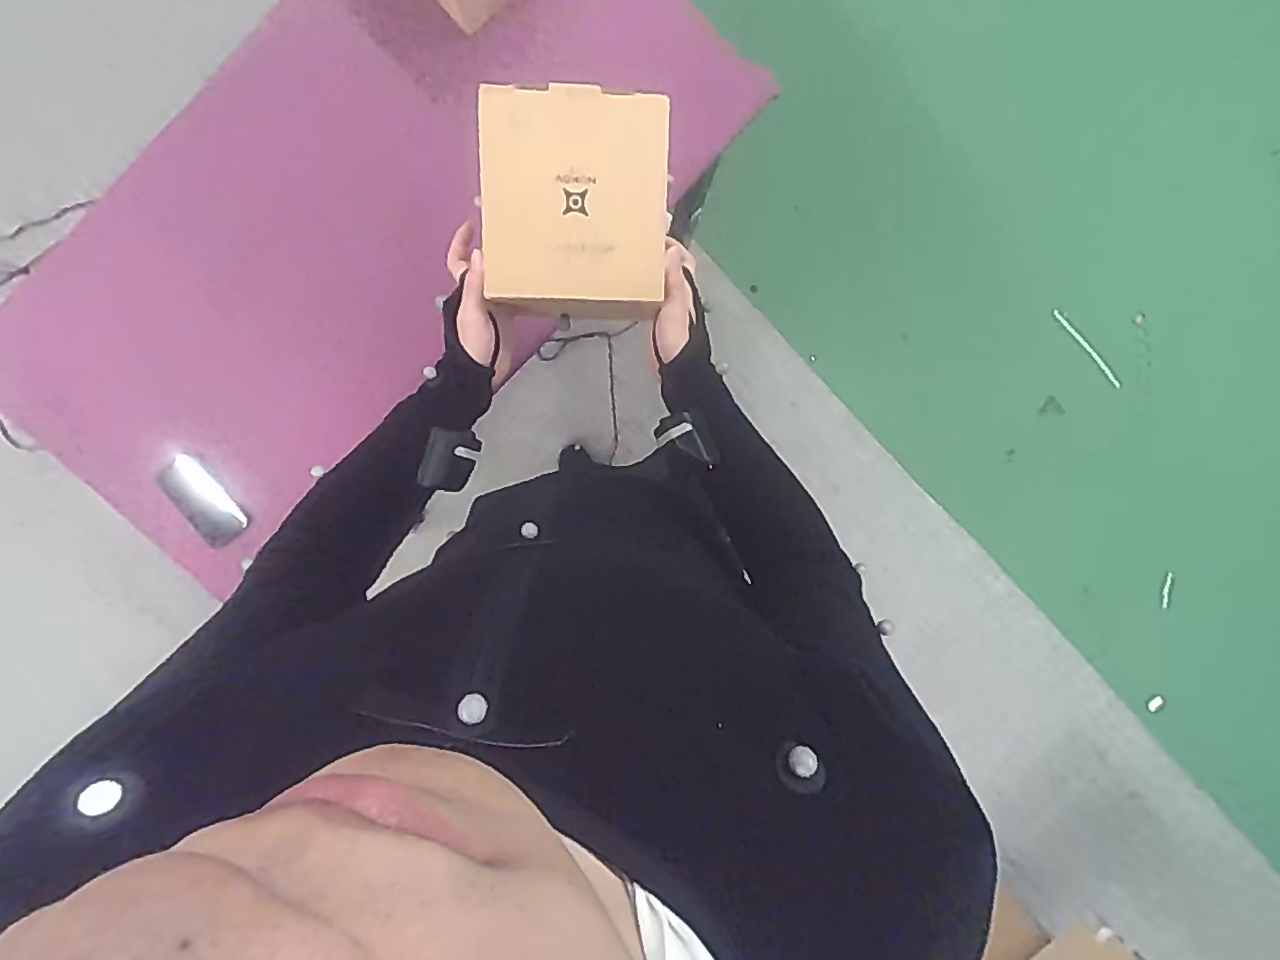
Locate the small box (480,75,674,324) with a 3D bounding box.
[{"bbox_3d":[-0.062,-0.260,0.545,0.168,0.176,0.179,1,100,-4],"label":"small box"}]

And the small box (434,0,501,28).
[{"bbox_3d":[-0.265,-0.791,0.738,0.168,0.176,0.179,-43,94,2],"label":"small box"}]
